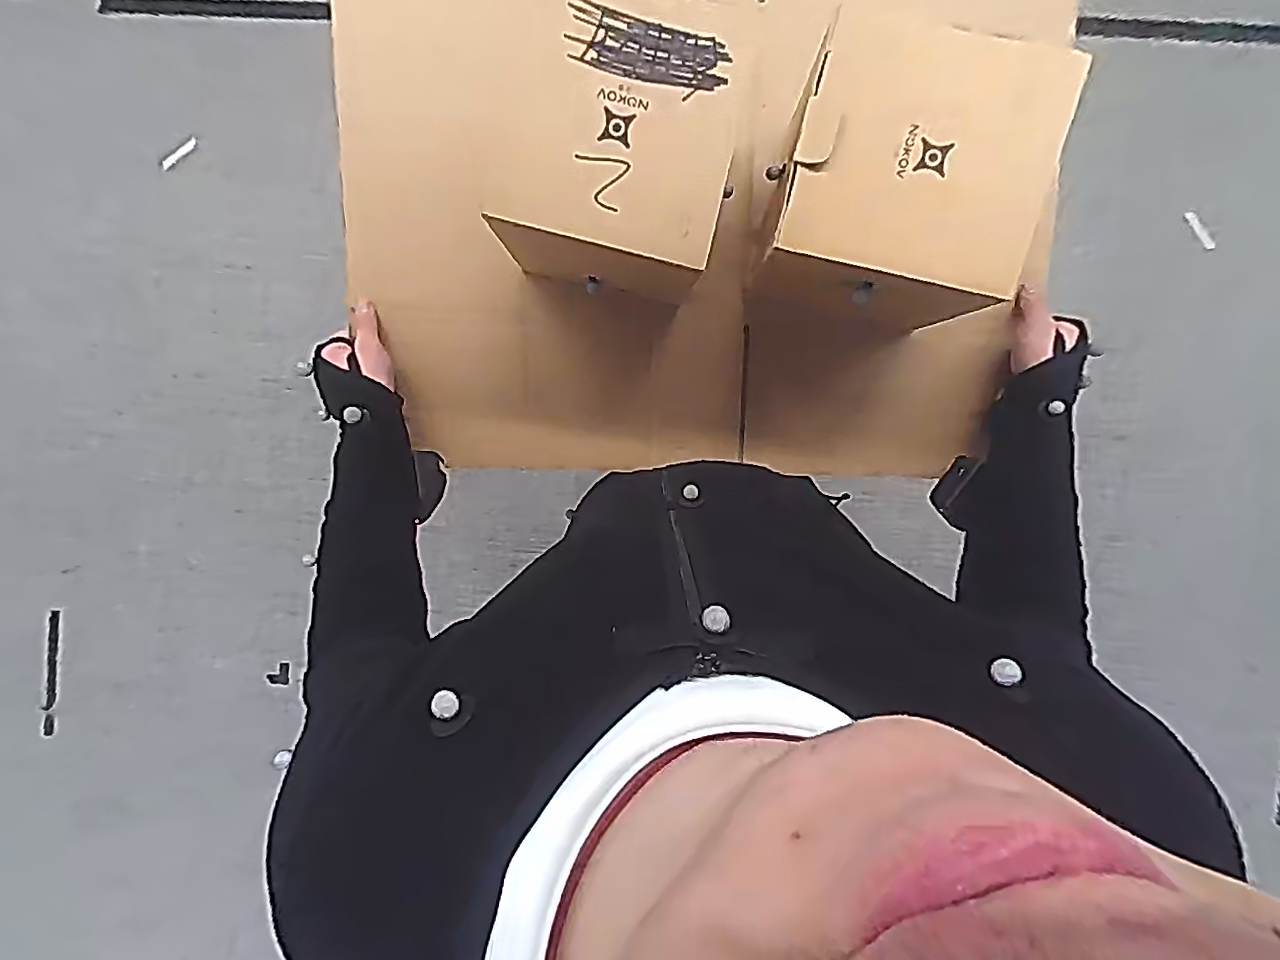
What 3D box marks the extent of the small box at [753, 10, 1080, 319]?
[{"bbox_3d":[0.211,-0.245,0.469,0.179,0.176,0.168,14,99,3],"label":"small box"}]
